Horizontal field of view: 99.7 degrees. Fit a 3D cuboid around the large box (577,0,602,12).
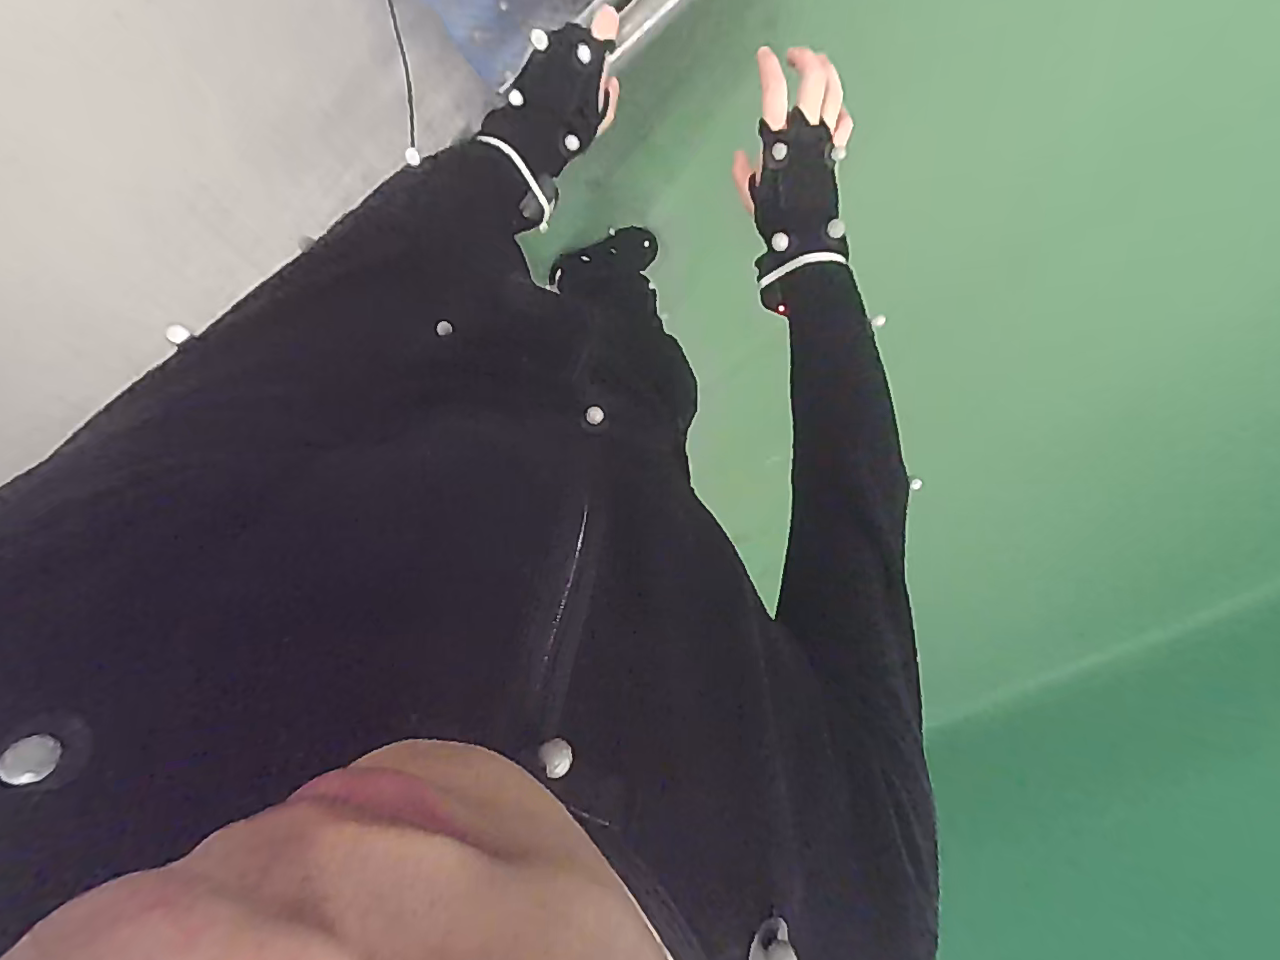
[{"bbox_3d":[-0.096,-0.987,0.747,0.320,0.320,0.408,-32,119,18],"label":"large box"}]
